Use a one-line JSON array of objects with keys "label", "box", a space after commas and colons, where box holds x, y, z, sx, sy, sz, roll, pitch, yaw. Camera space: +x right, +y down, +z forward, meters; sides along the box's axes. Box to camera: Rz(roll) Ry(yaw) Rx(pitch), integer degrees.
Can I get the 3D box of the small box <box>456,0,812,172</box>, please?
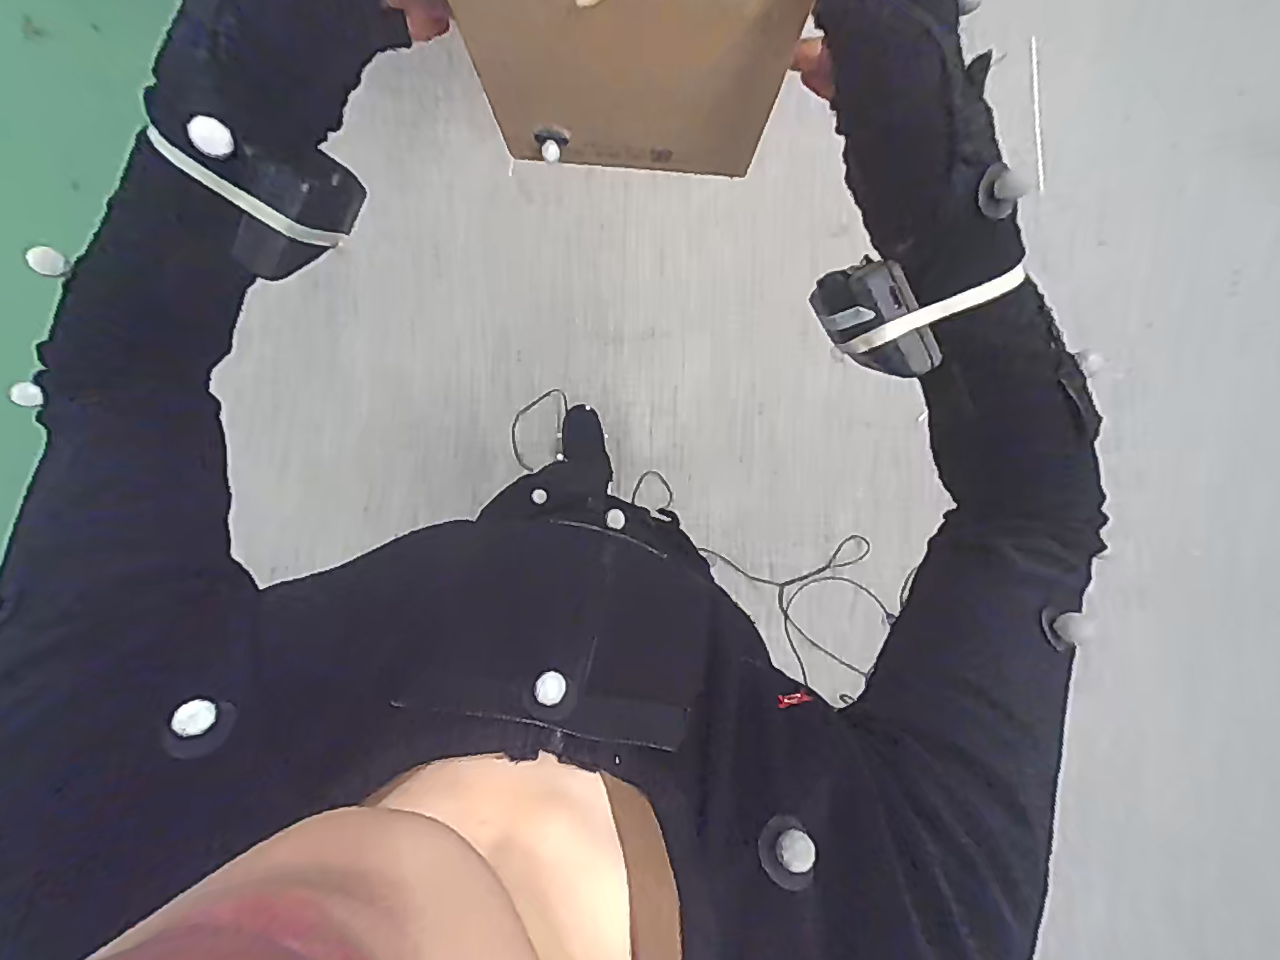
[{"label": "small box", "box": [0.003, -0.296, 0.291, 0.168, 0.176, 0.179, 4, 92, -2]}]
